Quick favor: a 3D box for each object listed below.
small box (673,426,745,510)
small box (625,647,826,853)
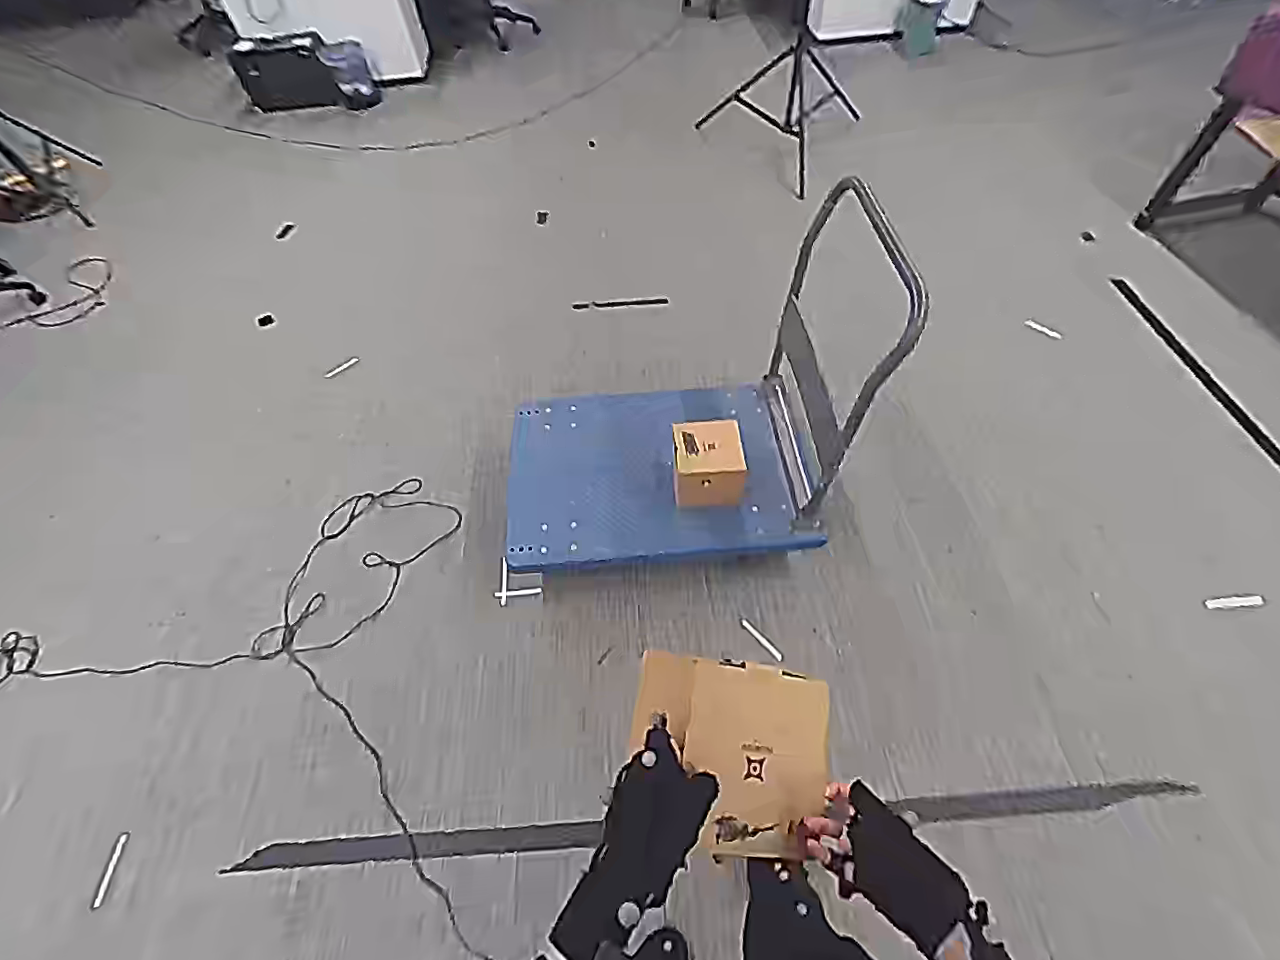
[{"bbox_3d":[0.181,-0.028,1.470,0.179,0.176,0.168,-3,55,1],"label":"small box"},{"bbox_3d":[0.092,0.297,0.627,0.168,0.176,0.179,15,73,-15],"label":"small box"}]
